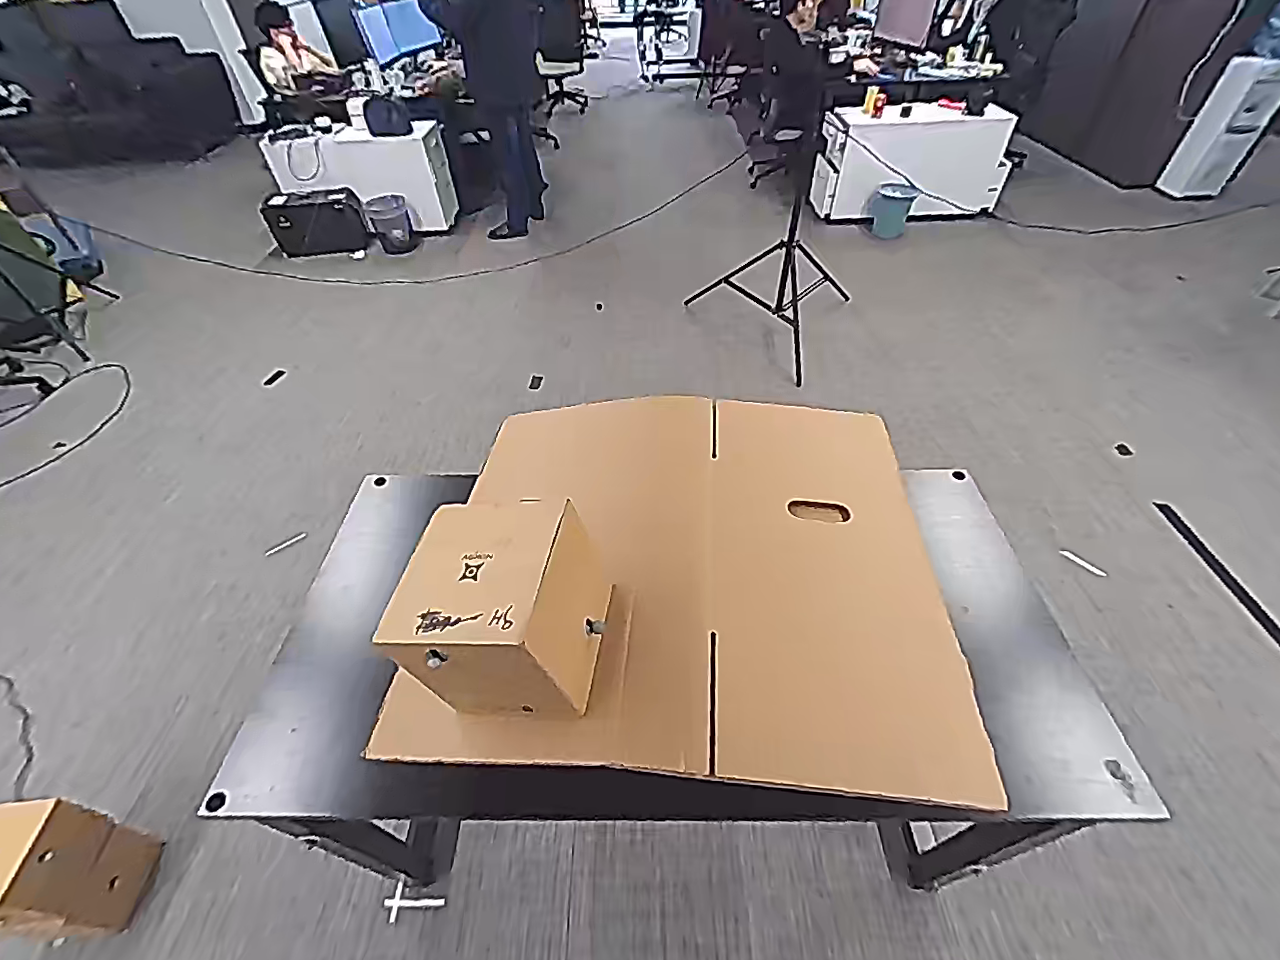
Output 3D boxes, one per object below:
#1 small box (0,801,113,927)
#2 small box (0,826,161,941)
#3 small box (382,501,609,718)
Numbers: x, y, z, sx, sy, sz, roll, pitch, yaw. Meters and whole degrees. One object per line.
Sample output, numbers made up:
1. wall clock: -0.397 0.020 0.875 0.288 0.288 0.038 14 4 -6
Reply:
1. small box: -1.217 0.762 1.066 0.168 0.176 0.179 -5 45 -5
2. small box: -1.211 0.879 1.179 0.168 0.176 0.179 -4 46 -2
3. small box: -0.143 0.145 0.613 0.168 0.176 0.179 -5 44 17
